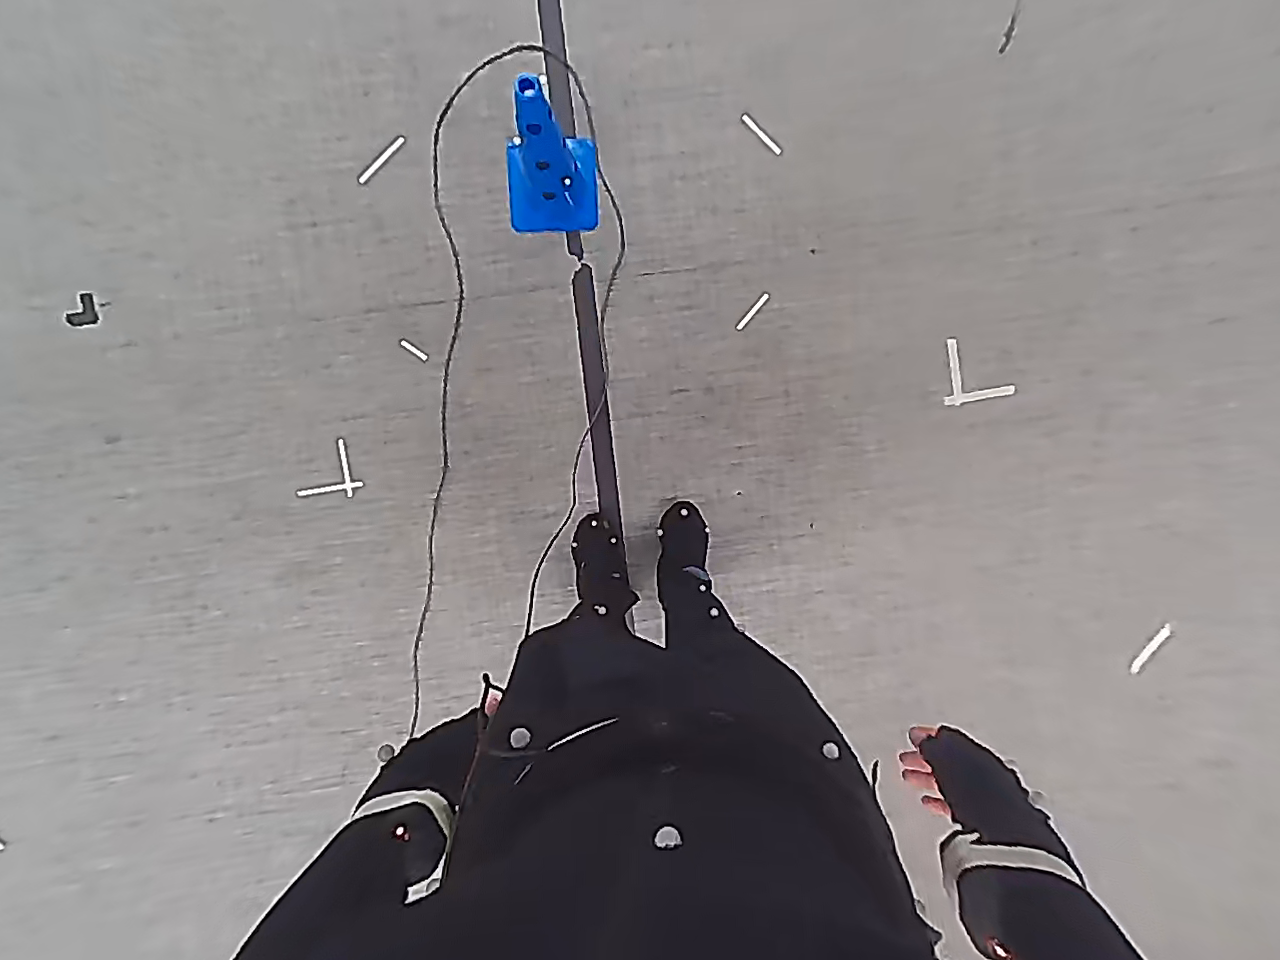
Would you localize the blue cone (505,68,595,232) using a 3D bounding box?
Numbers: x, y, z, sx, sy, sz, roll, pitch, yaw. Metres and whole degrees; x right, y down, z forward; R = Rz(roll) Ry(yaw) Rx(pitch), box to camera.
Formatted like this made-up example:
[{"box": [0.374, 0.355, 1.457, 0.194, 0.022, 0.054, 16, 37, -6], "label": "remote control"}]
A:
[{"box": [-0.193, -0.638, 1.038, 0.193, 0.380, 0.192, -4, 95, -1], "label": "blue cone"}]
